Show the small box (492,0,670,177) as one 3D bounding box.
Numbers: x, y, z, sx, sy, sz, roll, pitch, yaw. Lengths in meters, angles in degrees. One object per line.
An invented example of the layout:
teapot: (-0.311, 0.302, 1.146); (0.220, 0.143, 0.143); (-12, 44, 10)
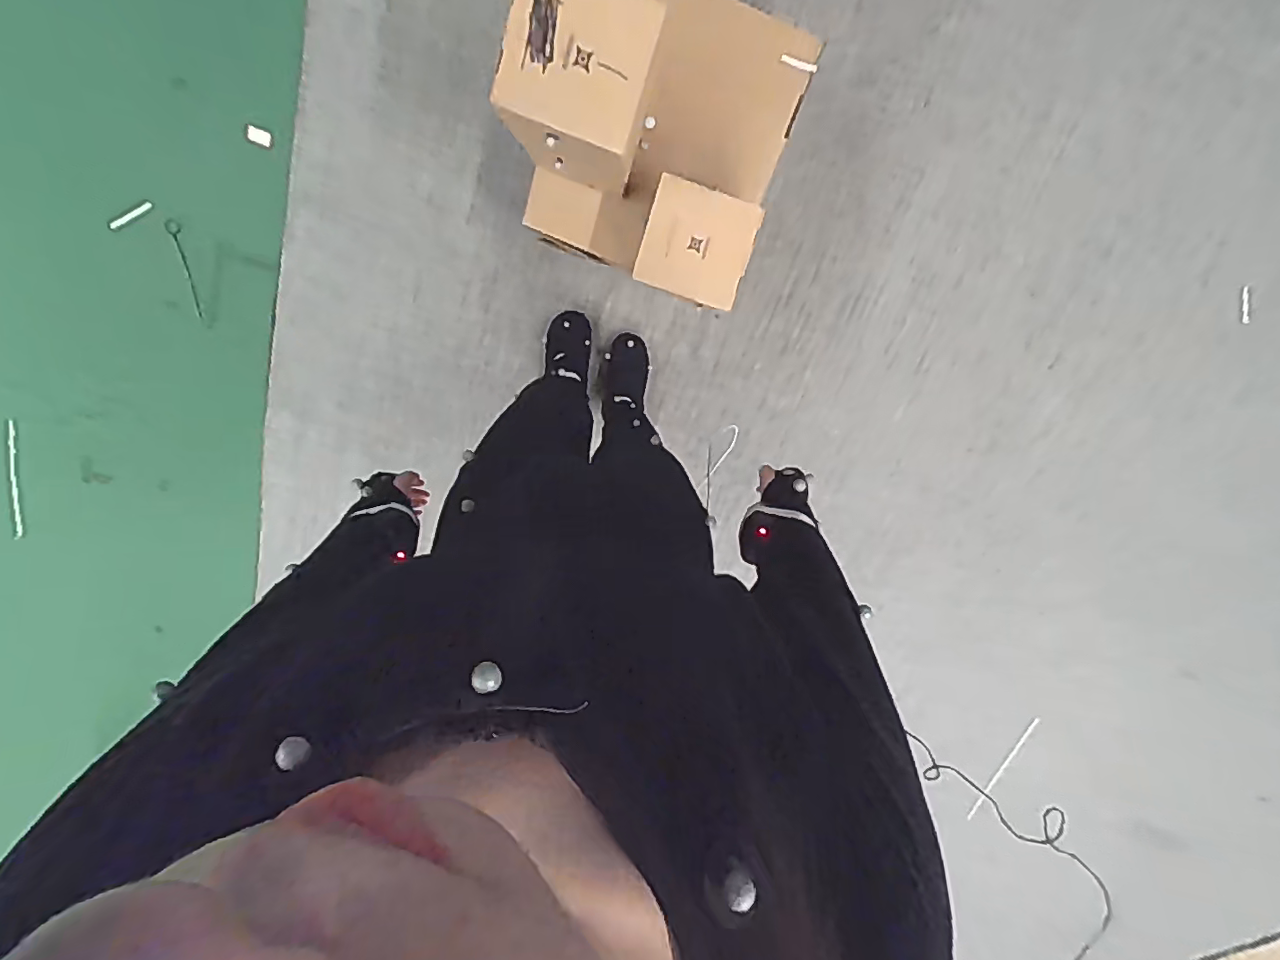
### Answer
small box: (-0.073, -0.529, 0.718); (0.179, 0.176, 0.168); (18, 108, -7)

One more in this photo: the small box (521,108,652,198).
small box: (-0.077, -0.587, 0.873); (0.168, 0.176, 0.179); (19, 107, -7)

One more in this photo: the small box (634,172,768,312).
small box: (0.095, -0.404, 0.939); (0.179, 0.176, 0.168); (17, 108, -6)
